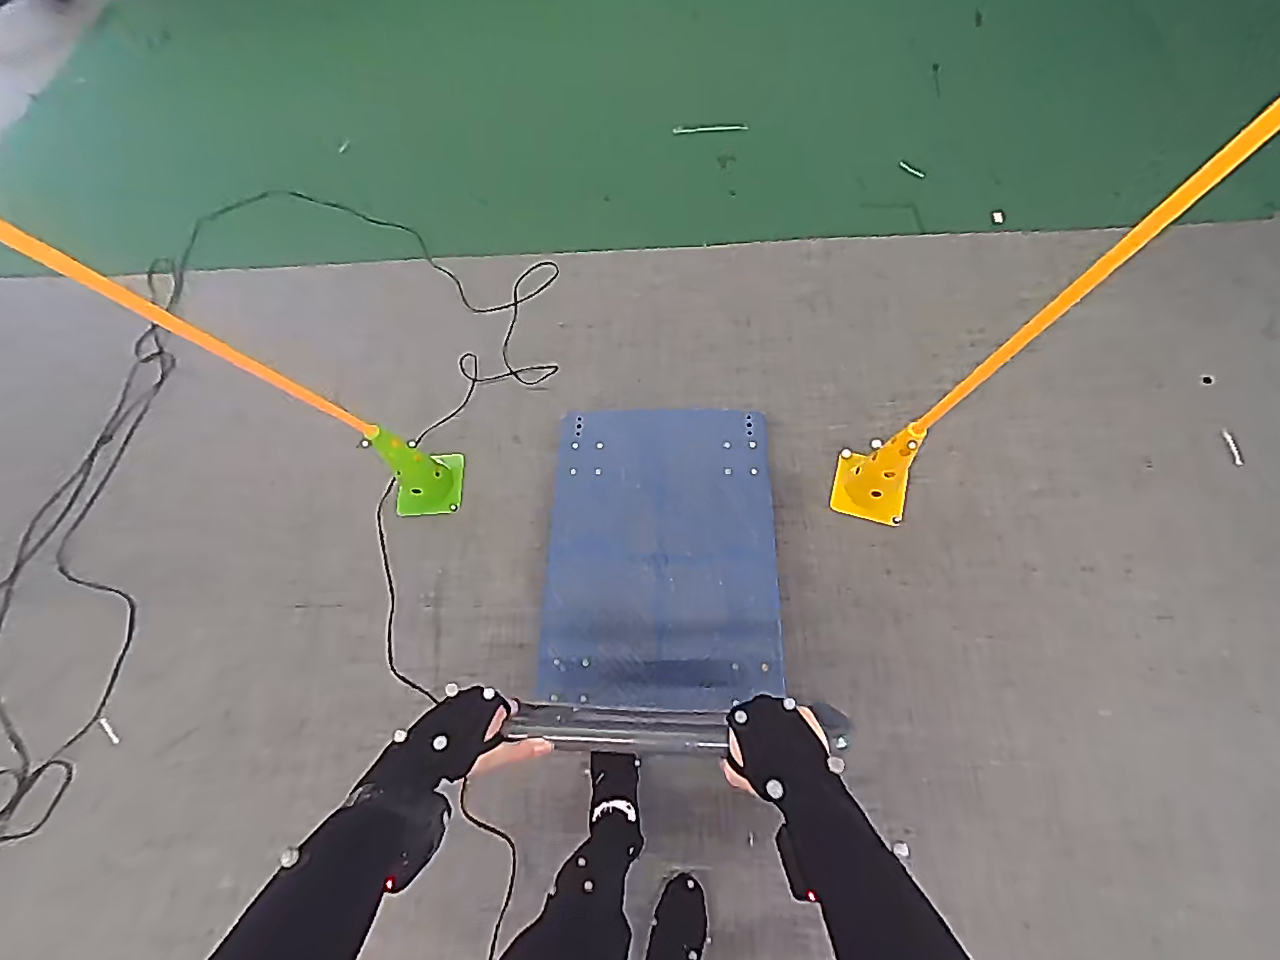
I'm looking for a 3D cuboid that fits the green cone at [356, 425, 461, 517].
[{"bbox_3d":[-0.674,-0.055,1.520,0.202,0.368,0.200,-5,66,4],"label":"green cone"}]
